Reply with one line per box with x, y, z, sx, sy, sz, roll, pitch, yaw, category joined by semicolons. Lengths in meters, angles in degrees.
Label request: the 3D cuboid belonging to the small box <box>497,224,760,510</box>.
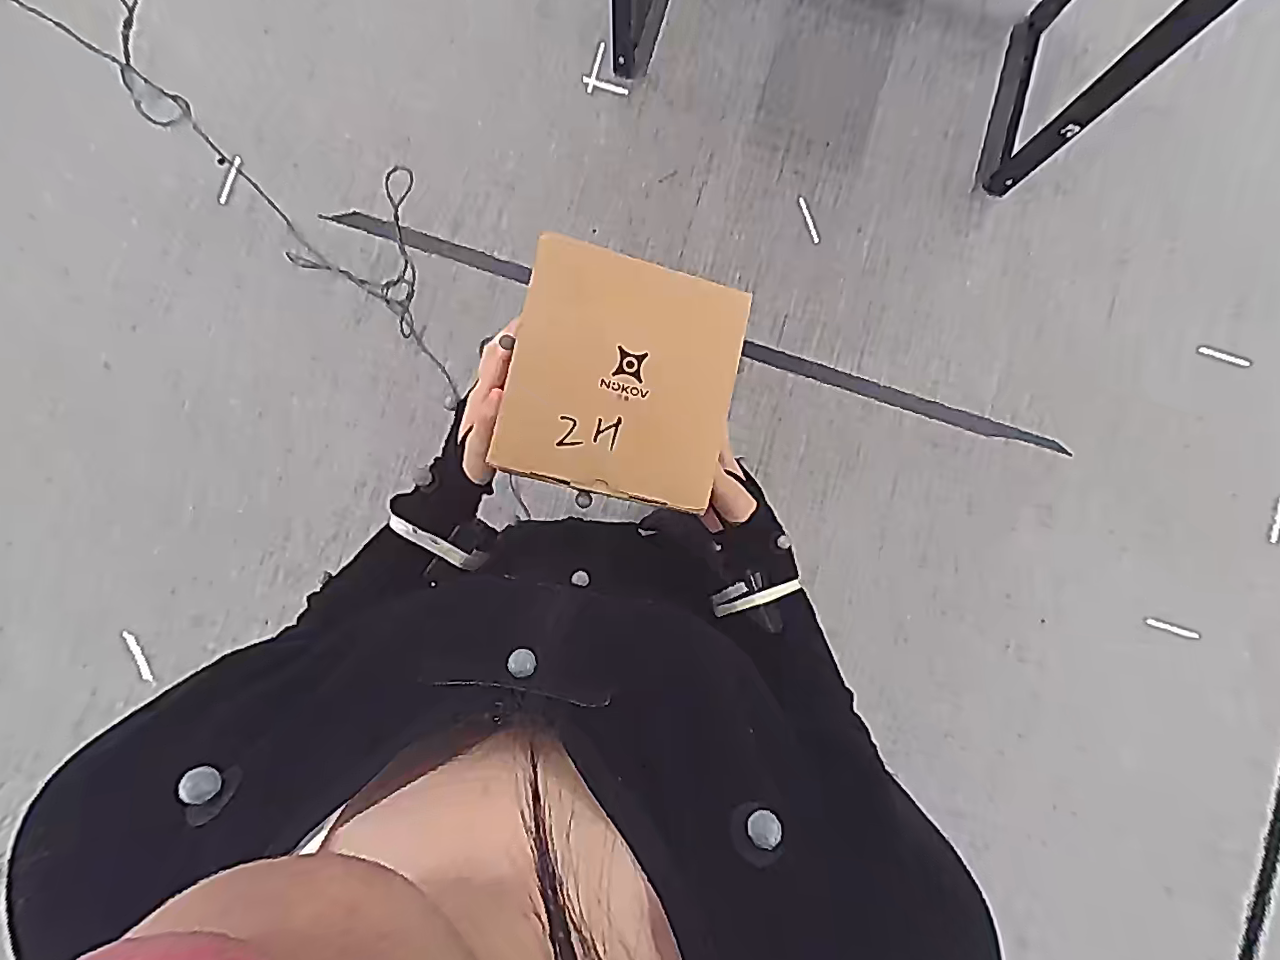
-0.018;-0.078;0.468;0.168;0.176;0.179;13;87;-10;small box

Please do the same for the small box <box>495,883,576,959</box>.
-0.261;1.146;1.341;0.179;0.176;0.168;11;86;-3;small box
